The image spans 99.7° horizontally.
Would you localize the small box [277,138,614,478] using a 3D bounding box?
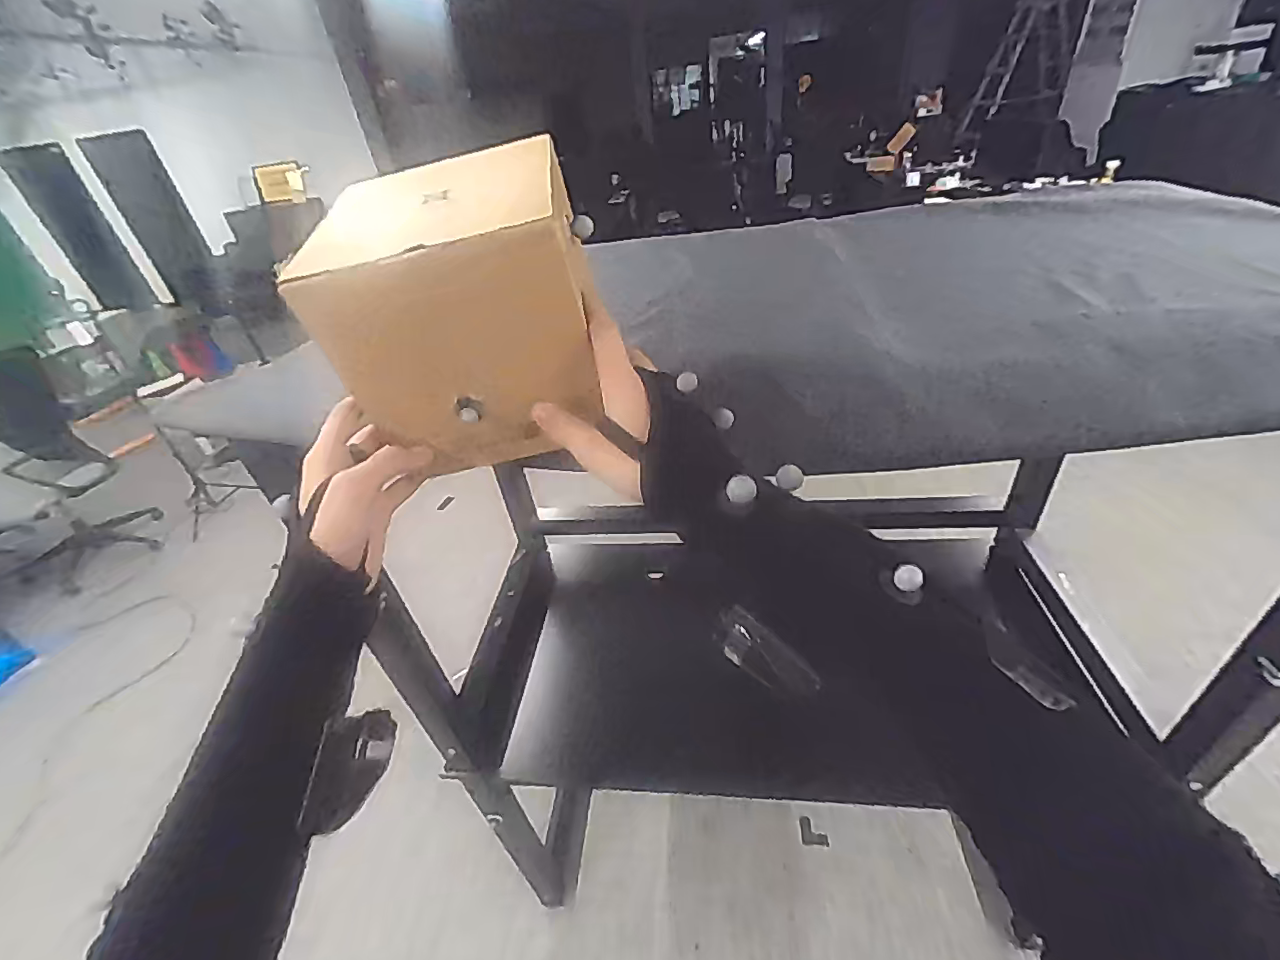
[{"bbox_3d":[-0.122,-0.129,0.415,0.168,0.176,0.179,-13,47,3],"label":"small box"}]
